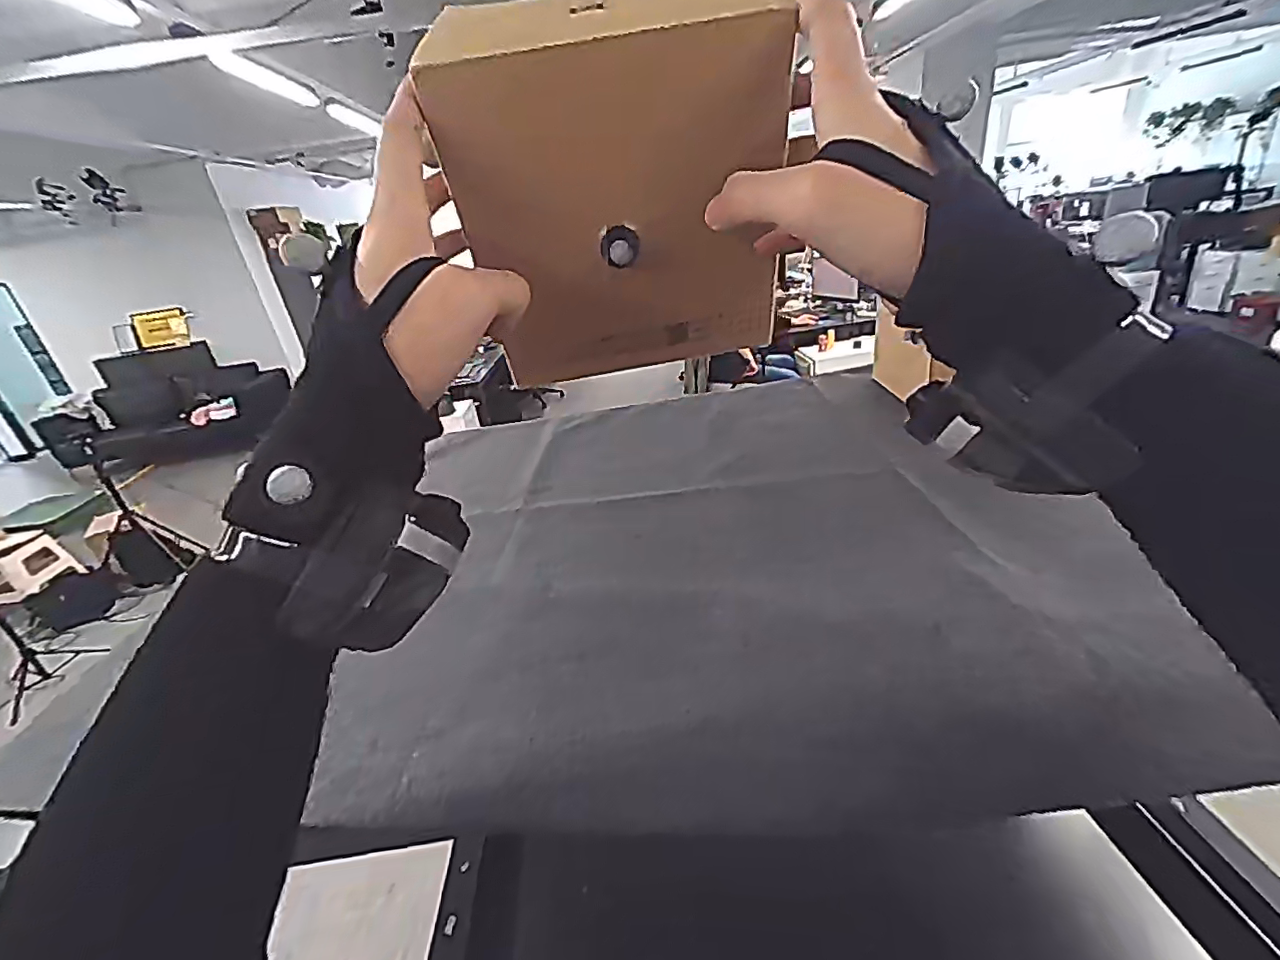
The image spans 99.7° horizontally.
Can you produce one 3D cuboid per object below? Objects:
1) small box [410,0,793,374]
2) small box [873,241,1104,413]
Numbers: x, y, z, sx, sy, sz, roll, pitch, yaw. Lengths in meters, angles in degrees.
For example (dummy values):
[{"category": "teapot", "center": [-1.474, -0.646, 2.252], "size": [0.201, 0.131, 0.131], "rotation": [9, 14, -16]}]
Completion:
[{"category": "small box", "center": [-0.017, -0.180, 0.335], "size": [0.168, 0.176, 0.179], "rotation": [-10, 46, -1]}, {"category": "small box", "center": [0.397, -0.183, 0.654], "size": [0.168, 0.176, 0.179], "rotation": [-6, 25, 4]}]
